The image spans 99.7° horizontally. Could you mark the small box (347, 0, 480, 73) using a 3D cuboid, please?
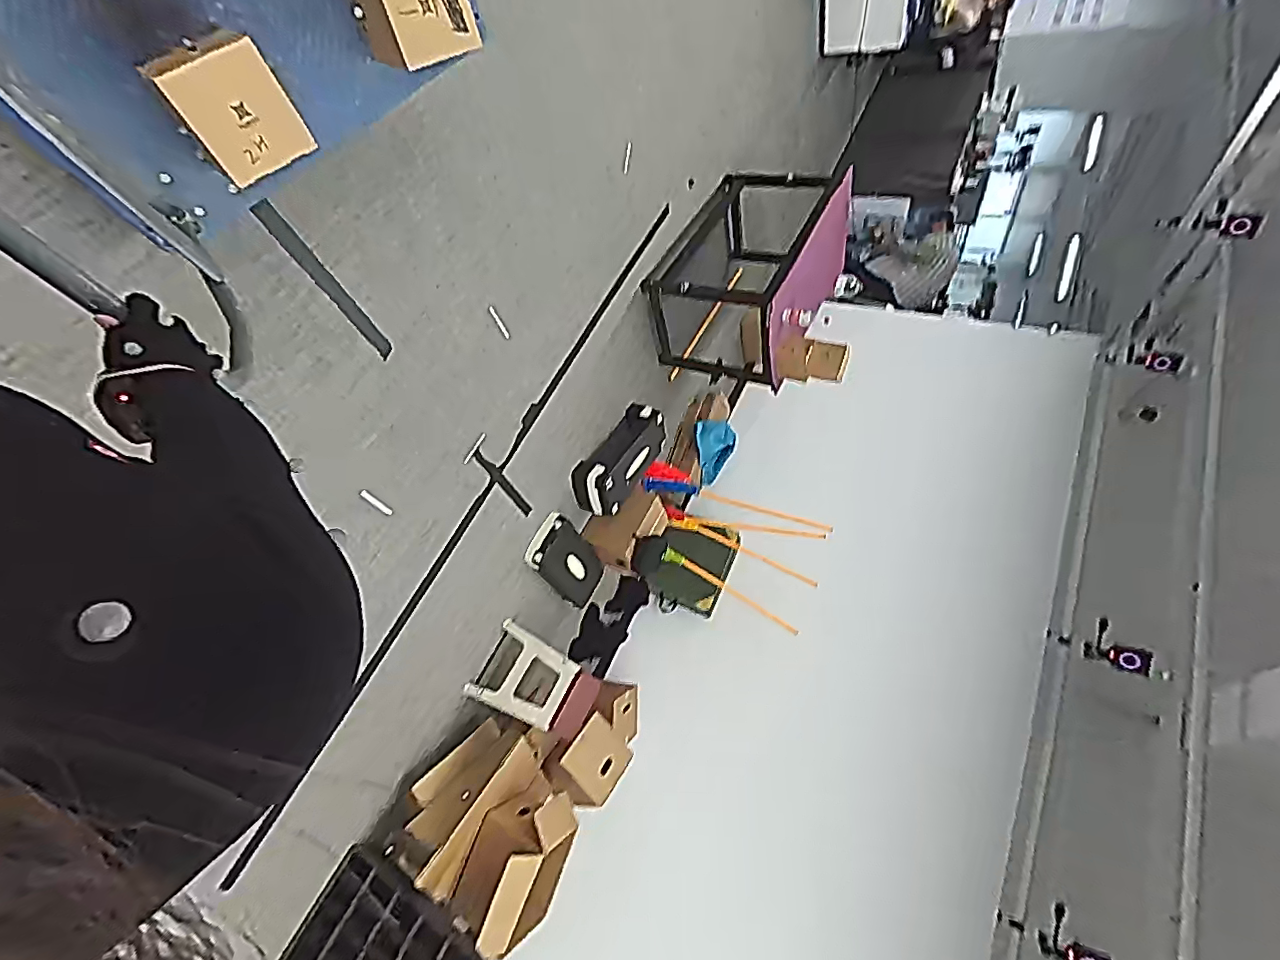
[{"bbox_3d":[-0.456,-0.936,1.068,0.179,0.176,0.168,-38,145,-21],"label":"small box"}]

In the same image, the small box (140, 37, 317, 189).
[{"bbox_3d":[-0.737,-0.663,0.971,0.168,0.176,0.179,-42,147,-17],"label":"small box"}]
